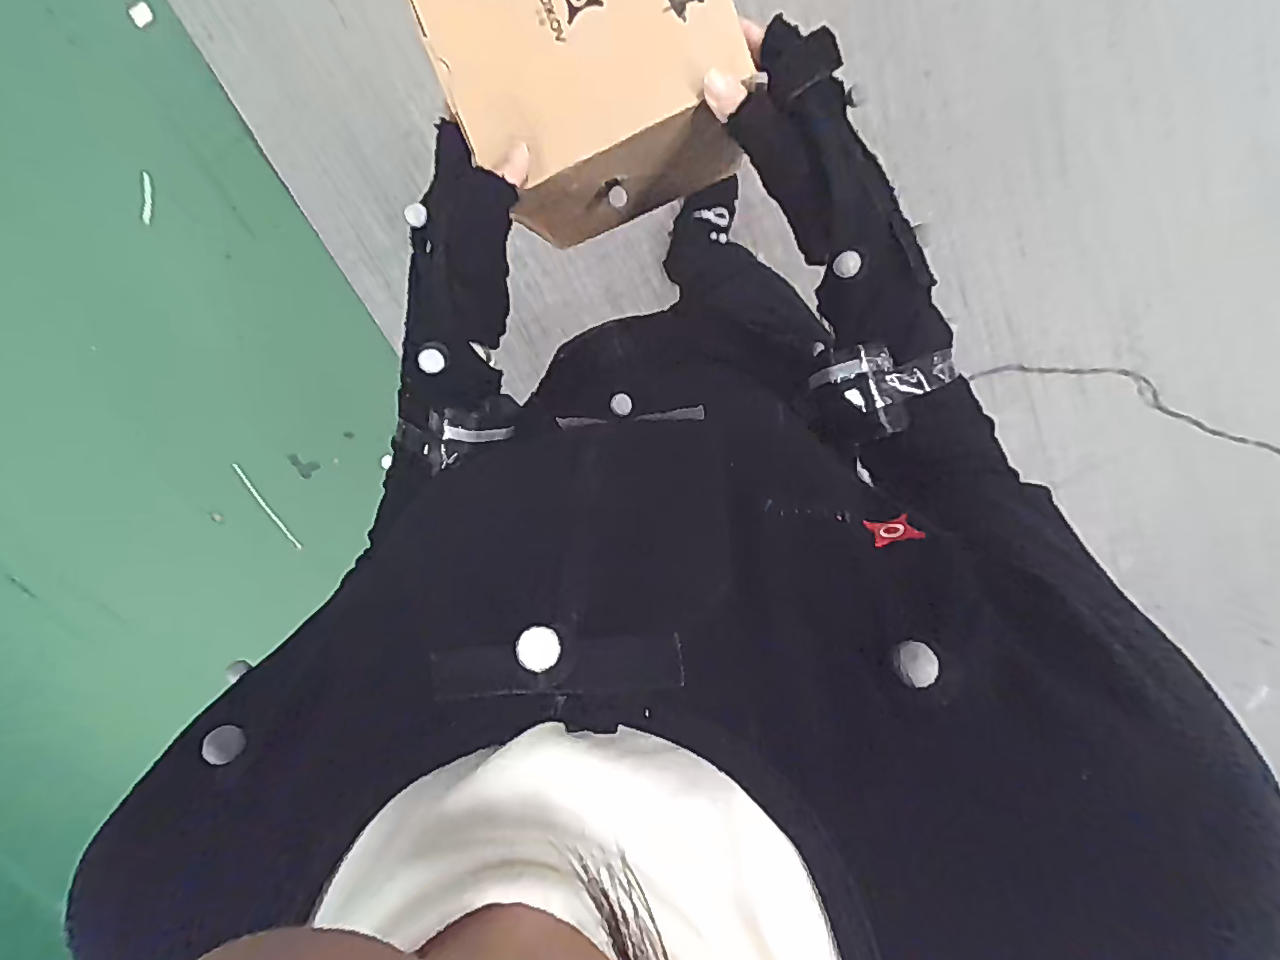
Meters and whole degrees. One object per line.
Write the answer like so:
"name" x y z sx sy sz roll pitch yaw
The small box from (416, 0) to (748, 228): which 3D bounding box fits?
"small box" -0.033 -0.313 0.391 0.179 0.176 0.168 -23 97 12
